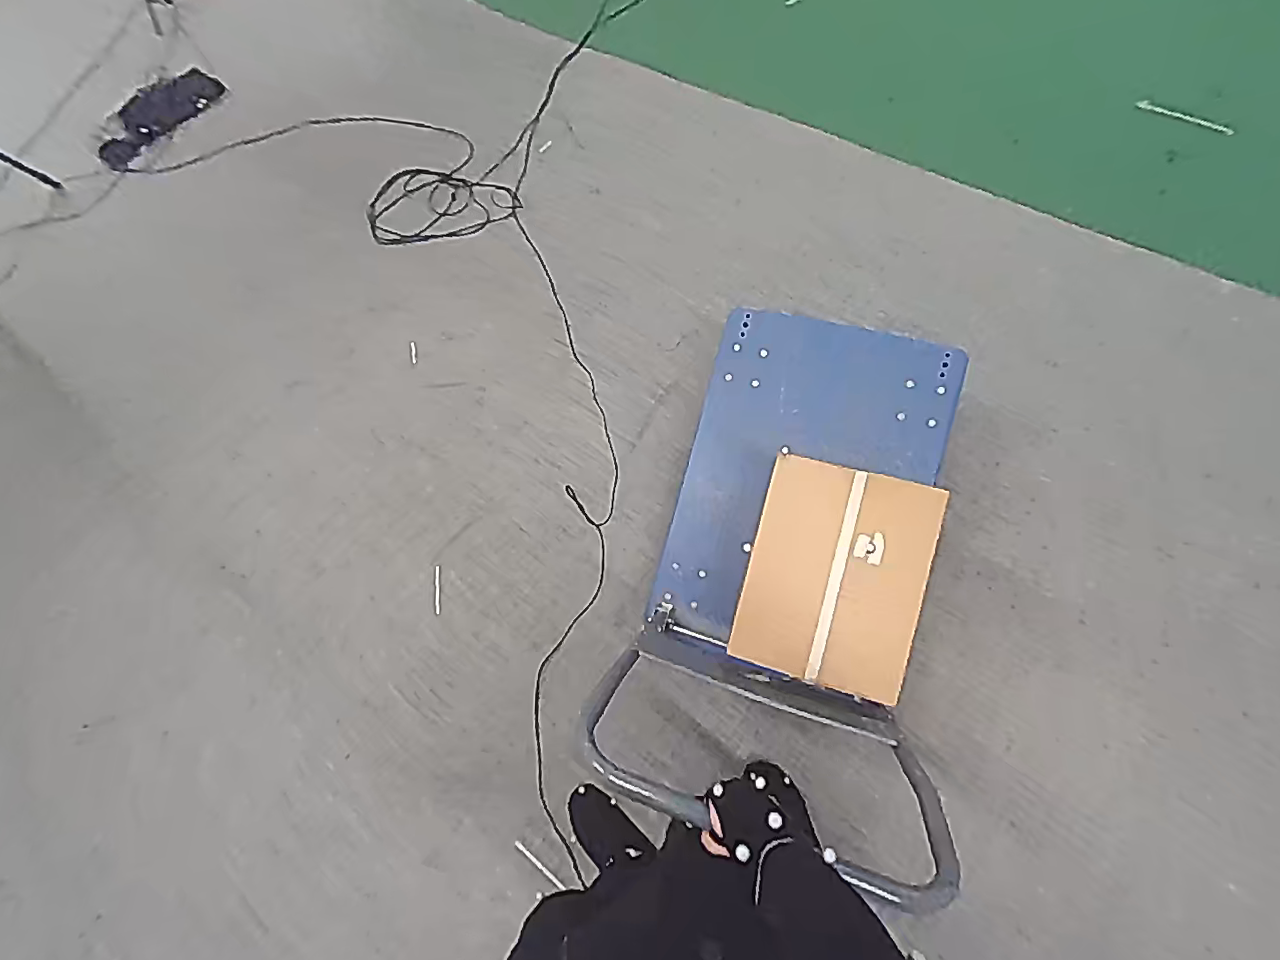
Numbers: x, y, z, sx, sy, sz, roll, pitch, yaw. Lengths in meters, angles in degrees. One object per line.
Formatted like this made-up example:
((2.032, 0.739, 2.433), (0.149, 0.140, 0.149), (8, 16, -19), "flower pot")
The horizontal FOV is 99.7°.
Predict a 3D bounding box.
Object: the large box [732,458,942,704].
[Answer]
((0.397, 0.199, 1.161), (0.320, 0.320, 0.408), (14, 87, 12), "large box")
